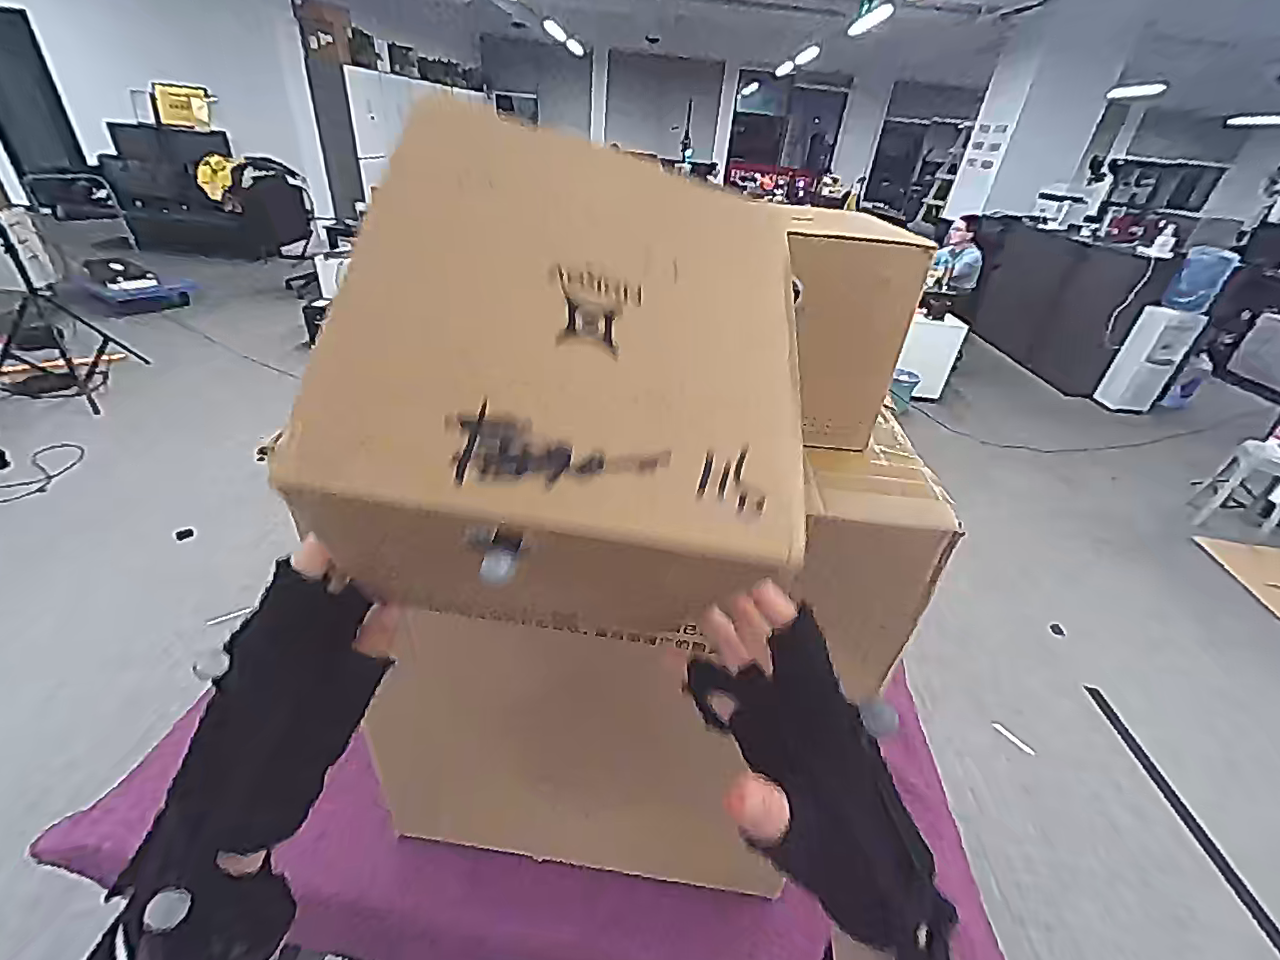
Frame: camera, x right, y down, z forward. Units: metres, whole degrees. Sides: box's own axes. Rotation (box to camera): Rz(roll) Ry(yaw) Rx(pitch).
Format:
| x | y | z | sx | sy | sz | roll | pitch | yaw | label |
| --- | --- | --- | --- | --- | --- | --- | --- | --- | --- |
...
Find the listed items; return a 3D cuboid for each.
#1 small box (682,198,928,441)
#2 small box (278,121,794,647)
| x | y | z | sx | sy | sz | roll | pitch | yaw | label |
| --- | --- | --- | --- | --- | --- | --- | --- | --- | --- |
| 0.115 | -0.147 | 0.486 | 0.179 | 0.176 | 0.168 | 5 | 33 | 0 | small box |
| -0.040 | -0.026 | 0.275 | 0.168 | 0.176 | 0.179 | 12 | 62 | -11 | small box |
